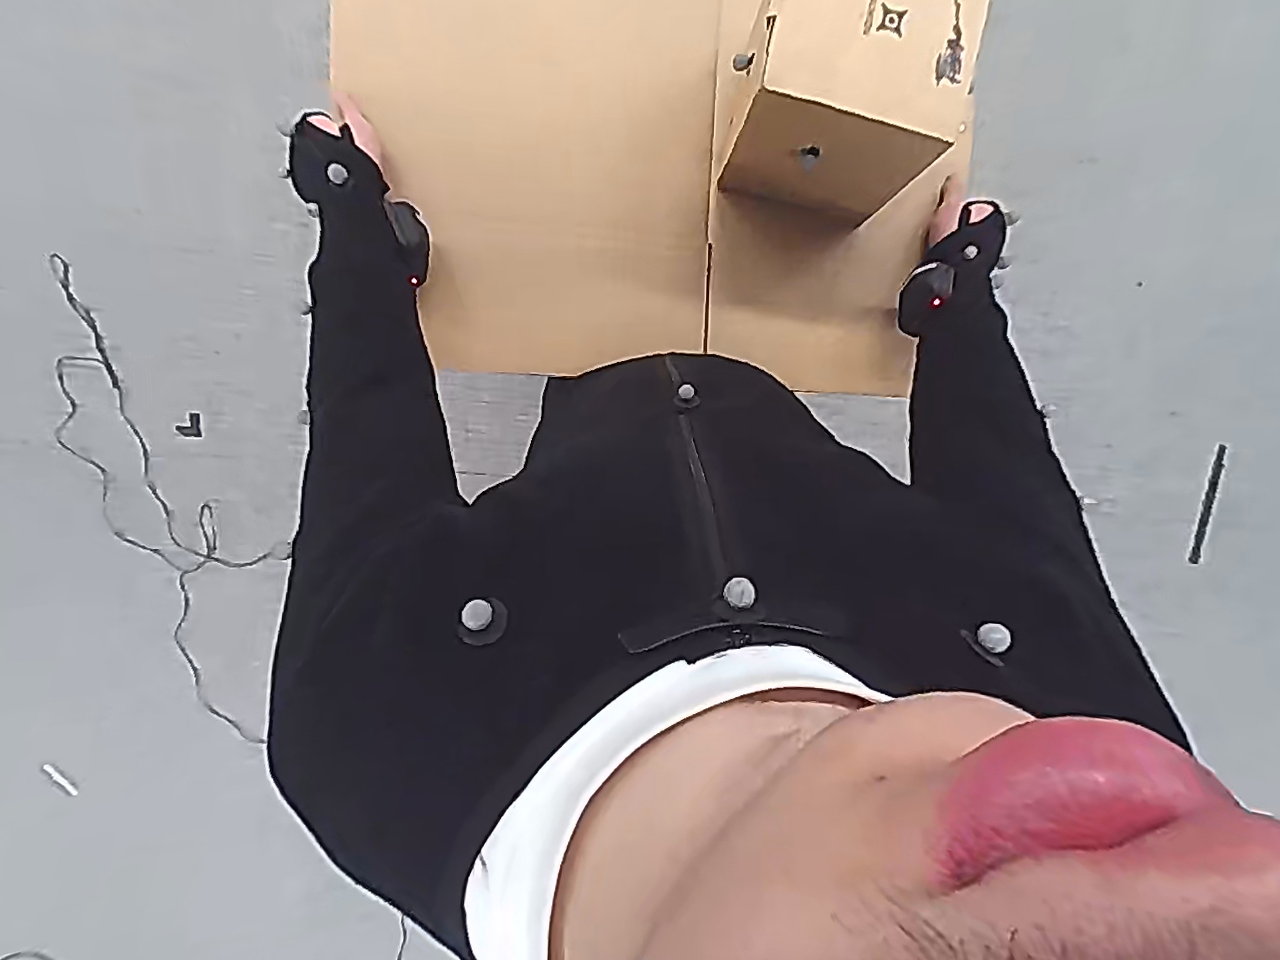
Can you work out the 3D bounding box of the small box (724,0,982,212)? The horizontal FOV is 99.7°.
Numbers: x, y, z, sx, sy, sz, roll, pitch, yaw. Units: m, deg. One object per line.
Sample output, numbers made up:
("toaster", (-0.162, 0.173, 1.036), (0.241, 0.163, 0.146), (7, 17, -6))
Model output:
("small box", (0.193, -0.392, 0.532), (0.179, 0.176, 0.168), (12, 93, -3))
